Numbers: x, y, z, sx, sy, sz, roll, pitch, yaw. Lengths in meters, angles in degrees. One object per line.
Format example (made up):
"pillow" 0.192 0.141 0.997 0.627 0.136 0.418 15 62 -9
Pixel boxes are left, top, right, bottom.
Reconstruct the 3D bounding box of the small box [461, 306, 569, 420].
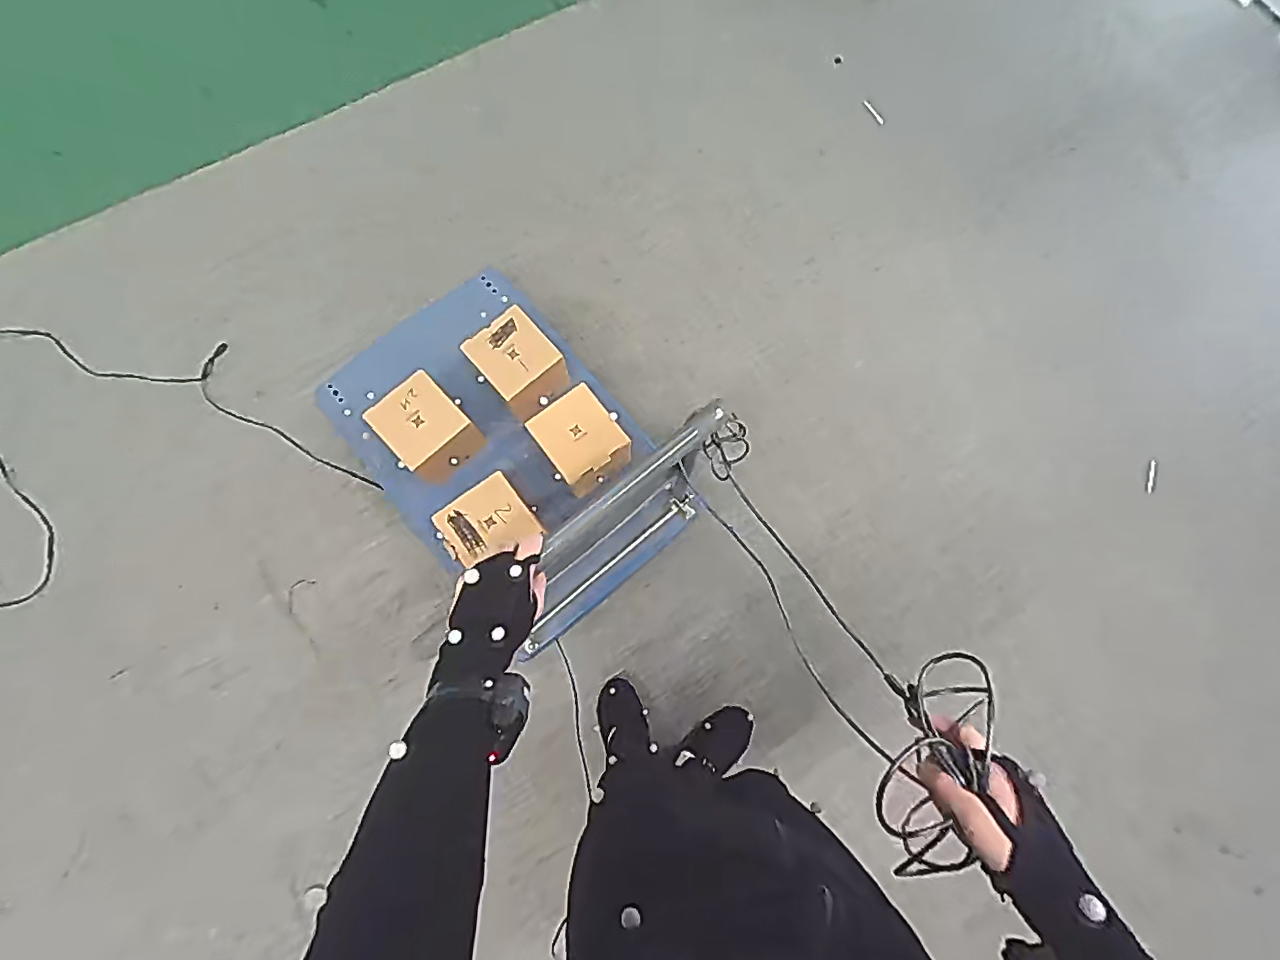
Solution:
"small box" -0.291 -0.271 1.297 0.168 0.176 0.179 -41 82 -8

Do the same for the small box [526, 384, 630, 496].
"small box" -0.140 -0.086 1.261 0.168 0.176 0.179 -38 81 -9

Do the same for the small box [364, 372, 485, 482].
"small box" -0.489 -0.113 1.259 0.168 0.176 0.179 -42 82 -10
